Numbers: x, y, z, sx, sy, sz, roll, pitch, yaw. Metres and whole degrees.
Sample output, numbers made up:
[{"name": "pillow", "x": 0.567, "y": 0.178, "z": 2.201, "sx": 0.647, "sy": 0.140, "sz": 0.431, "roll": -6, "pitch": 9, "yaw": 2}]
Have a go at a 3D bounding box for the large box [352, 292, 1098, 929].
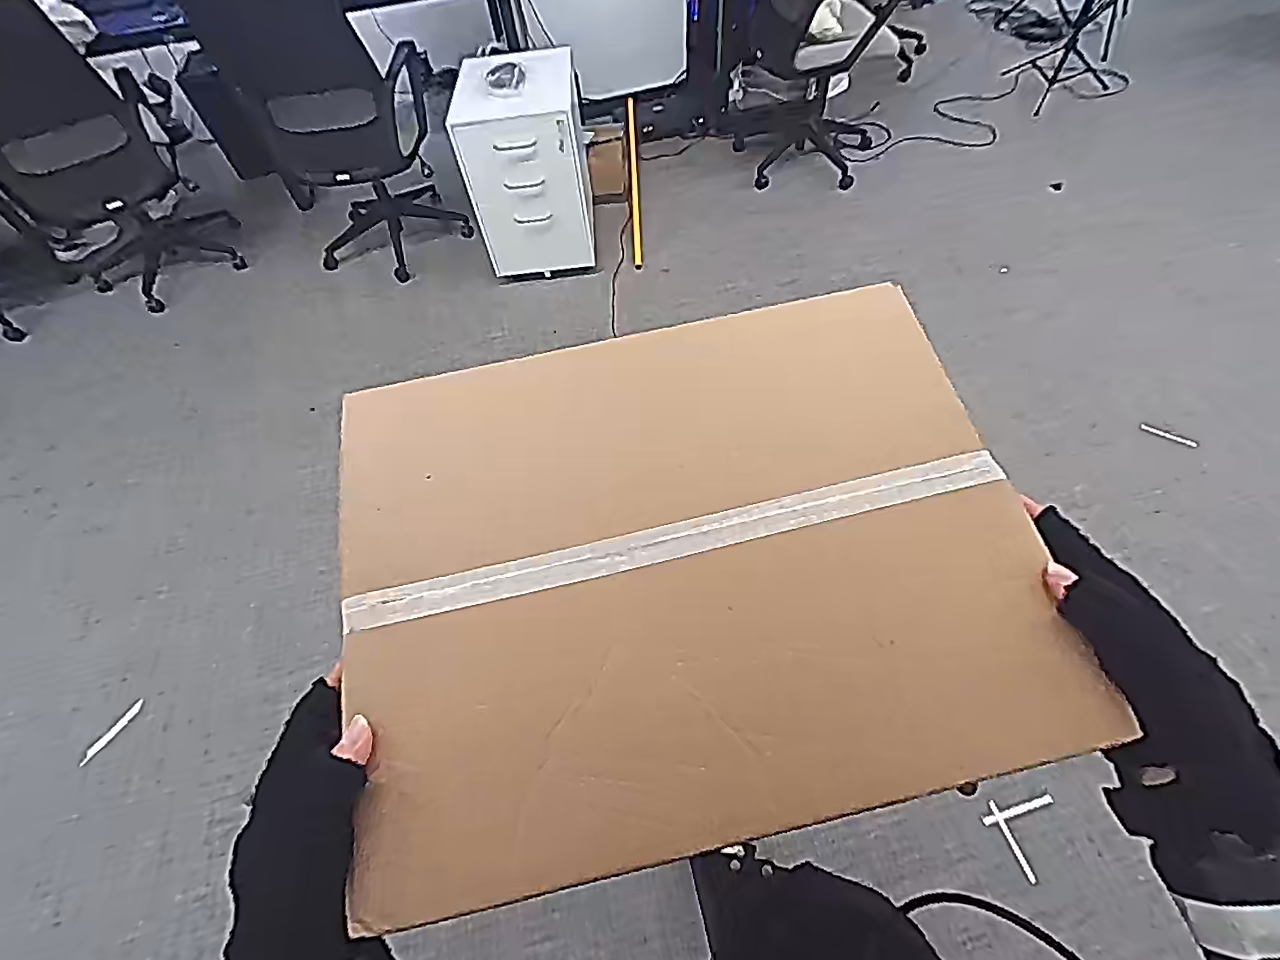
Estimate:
[{"name": "large box", "x": 0.031, "y": 0.097, "z": 0.473, "sx": 0.408, "sy": 0.320, "sz": 0.320, "roll": -13, "pitch": 66, "yaw": -3}]
